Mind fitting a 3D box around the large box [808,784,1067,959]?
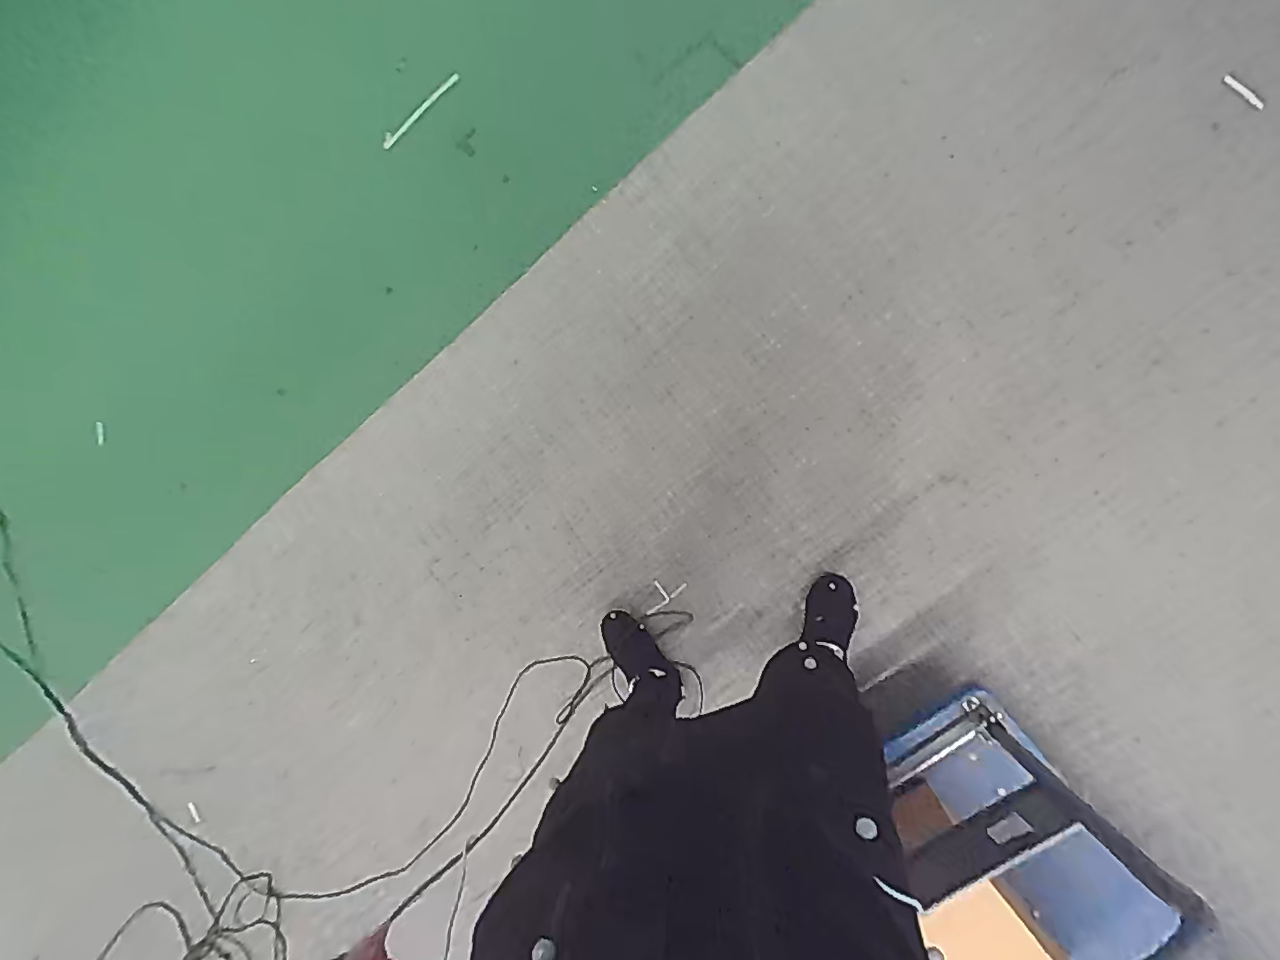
[{"bbox_3d":[0.564,0.865,0.968,0.320,0.320,0.408,-39,80,8],"label":"large box"}]
